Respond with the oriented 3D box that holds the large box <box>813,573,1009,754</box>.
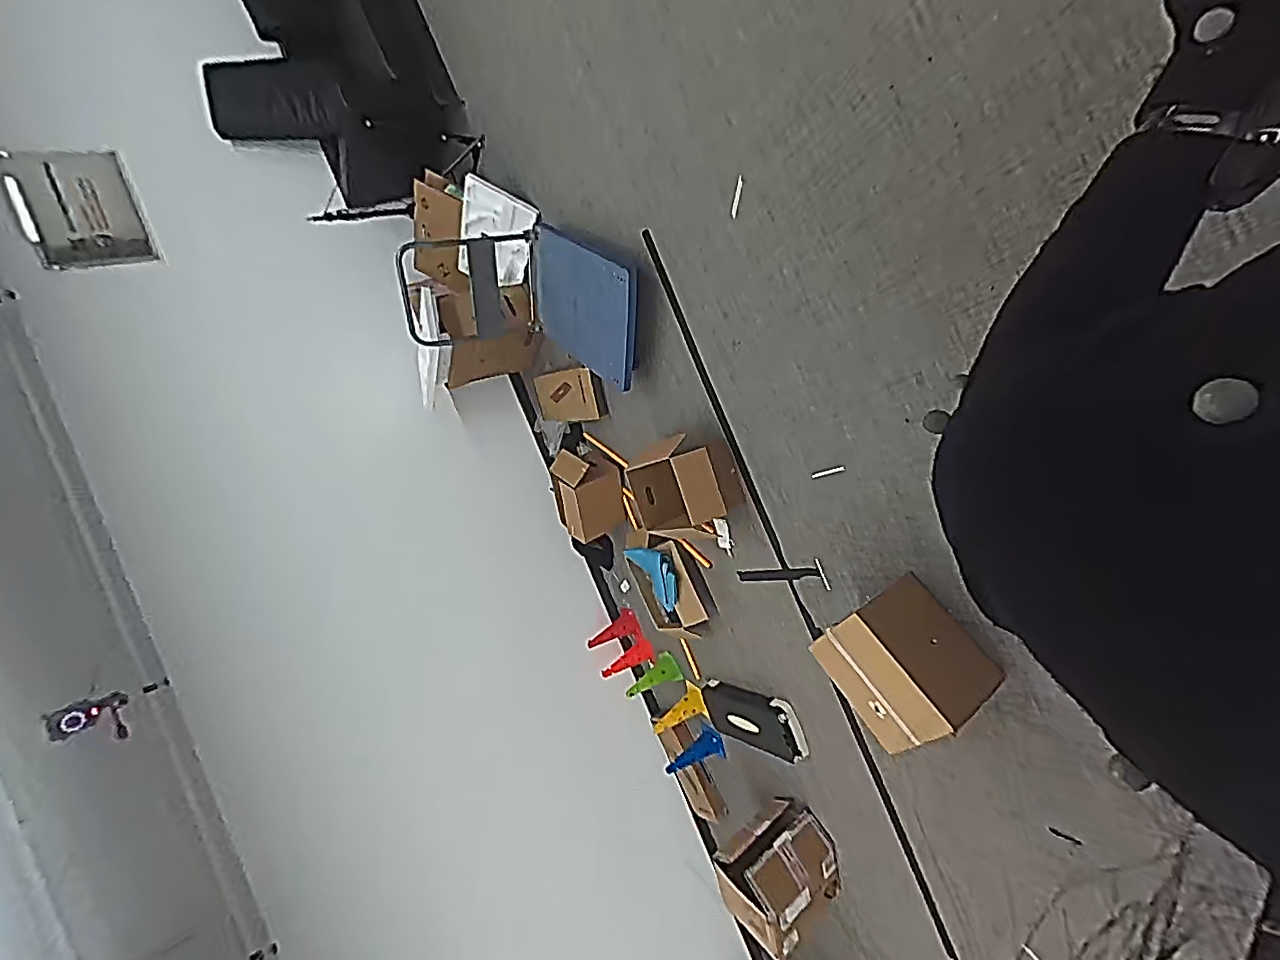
[{"bbox_3d":[0.856,0.583,1.747,0.408,0.320,0.320,53,148,23],"label":"large box"}]
